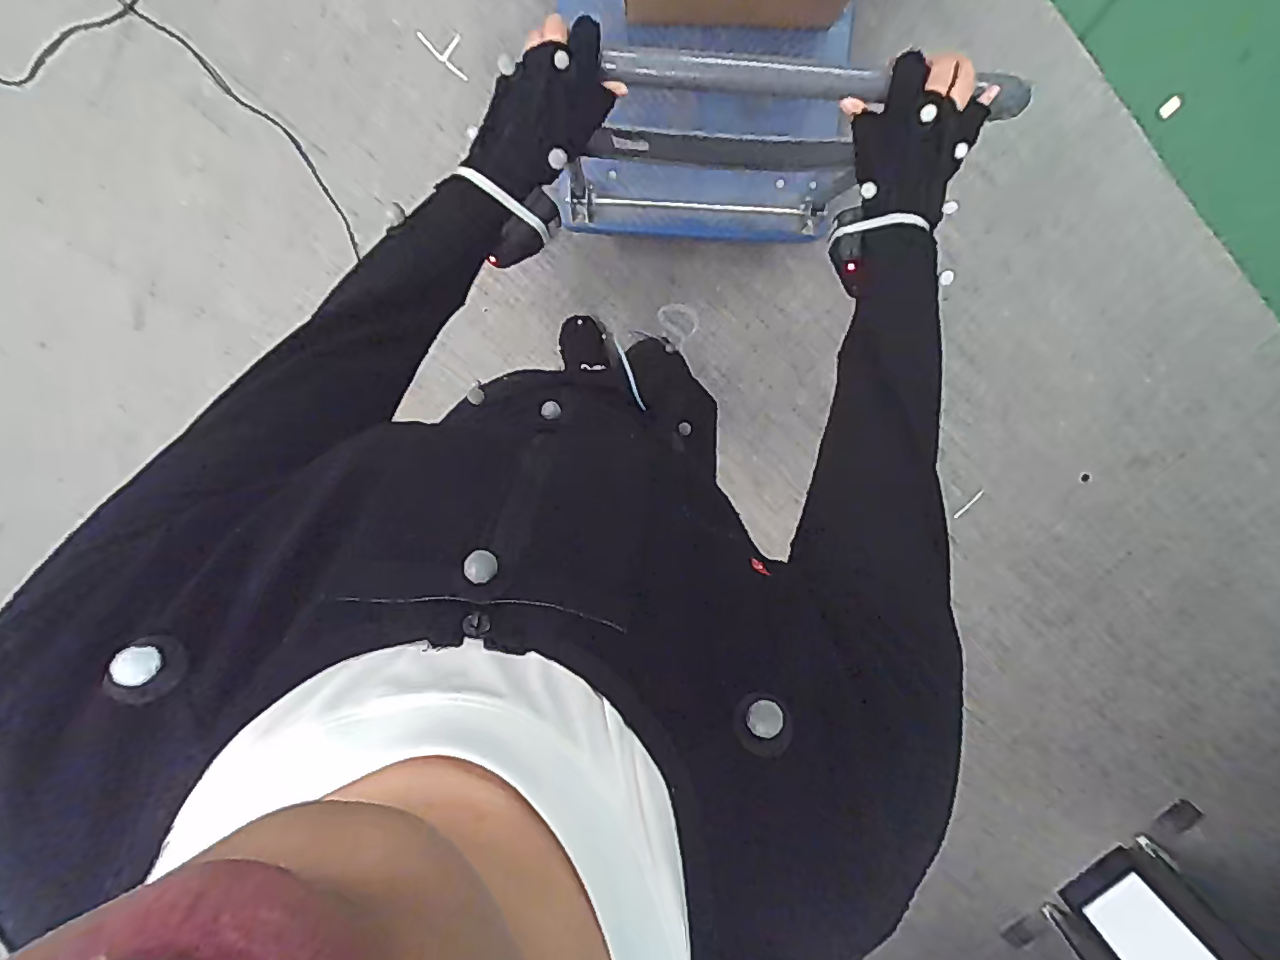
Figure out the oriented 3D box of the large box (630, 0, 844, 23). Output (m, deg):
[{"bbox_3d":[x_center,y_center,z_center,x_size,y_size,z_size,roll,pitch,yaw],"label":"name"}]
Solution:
[{"bbox_3d":[0.181,-0.997,0.872,0.408,0.320,0.320,-1,106,-1],"label":"large box"}]
